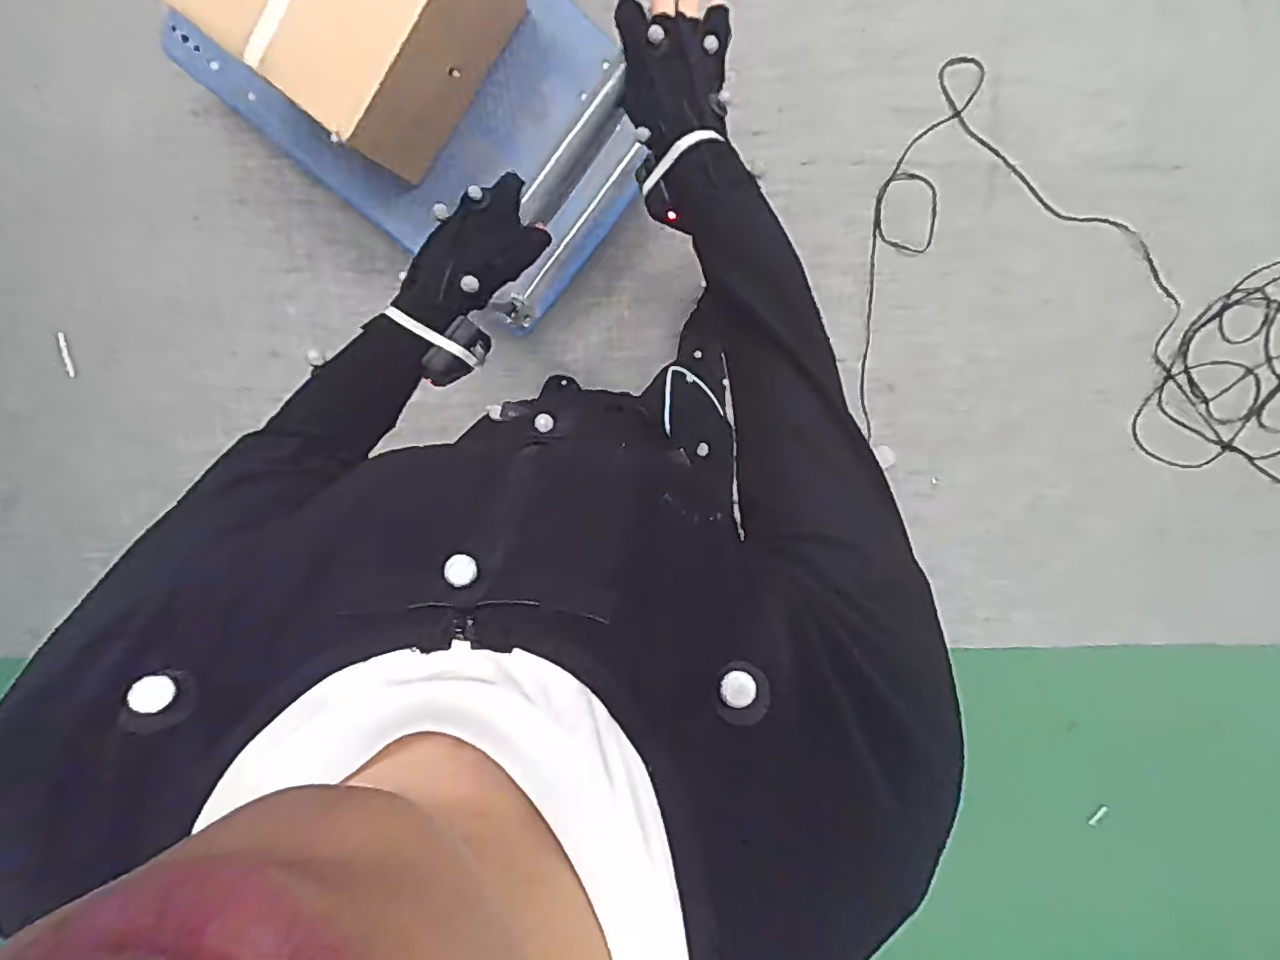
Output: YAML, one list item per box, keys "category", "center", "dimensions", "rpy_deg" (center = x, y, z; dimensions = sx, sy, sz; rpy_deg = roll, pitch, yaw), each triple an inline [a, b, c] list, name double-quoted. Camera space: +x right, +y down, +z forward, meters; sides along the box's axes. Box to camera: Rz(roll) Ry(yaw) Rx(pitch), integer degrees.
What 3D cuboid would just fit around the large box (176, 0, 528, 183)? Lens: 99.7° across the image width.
- category: "large box"
  center: [-0.438, -0.803, 0.906]
  dimensions: [0.320, 0.320, 0.408]
  rpy_deg: [36, 103, -12]
